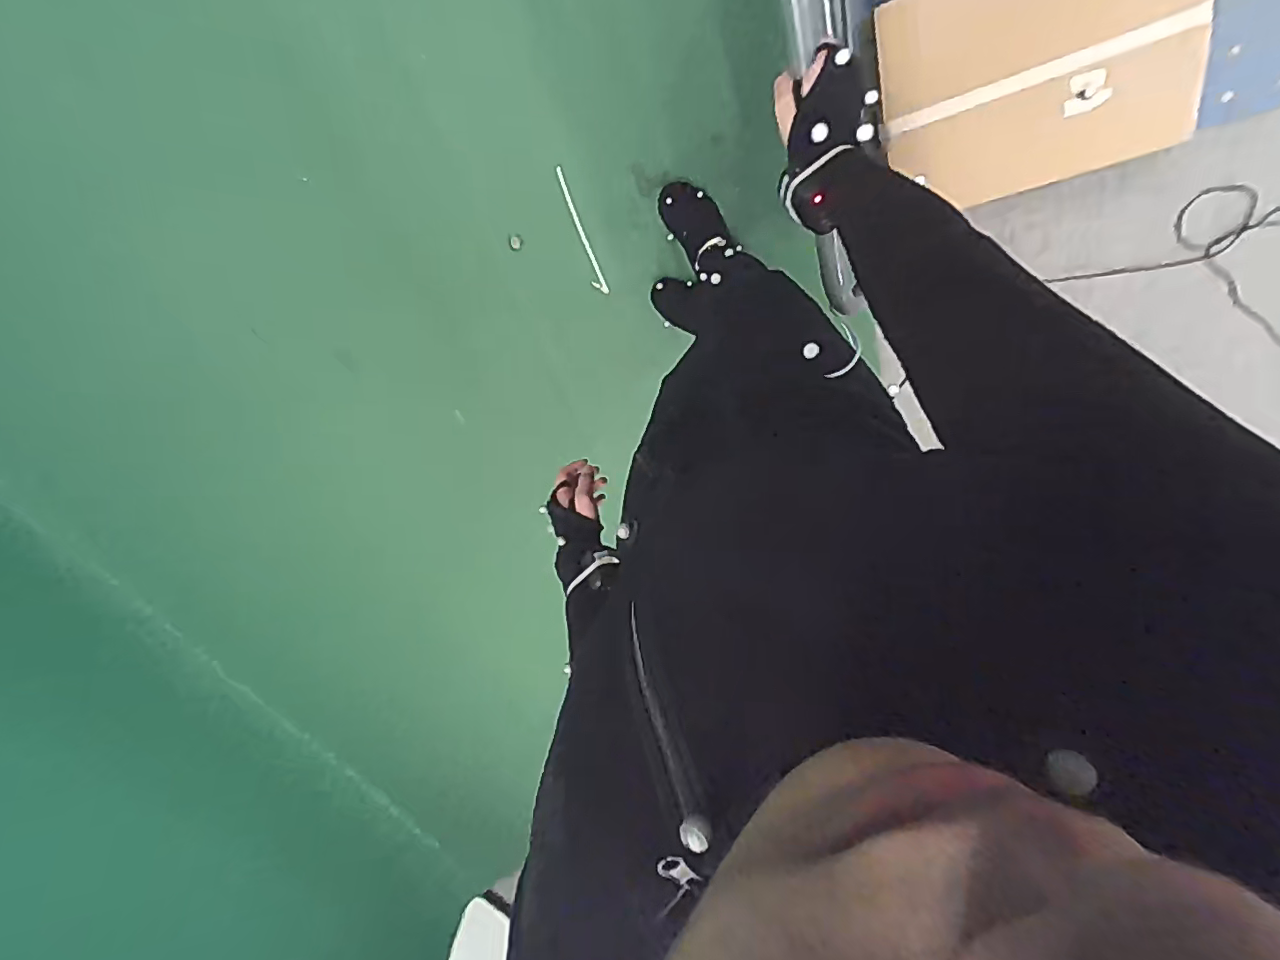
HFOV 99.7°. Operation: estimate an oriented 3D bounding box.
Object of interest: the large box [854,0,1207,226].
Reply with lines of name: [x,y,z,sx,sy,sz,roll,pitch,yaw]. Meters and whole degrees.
large box: [0.611,-0.682,0.918,0.408,0.320,0.320,-10,122,22]
